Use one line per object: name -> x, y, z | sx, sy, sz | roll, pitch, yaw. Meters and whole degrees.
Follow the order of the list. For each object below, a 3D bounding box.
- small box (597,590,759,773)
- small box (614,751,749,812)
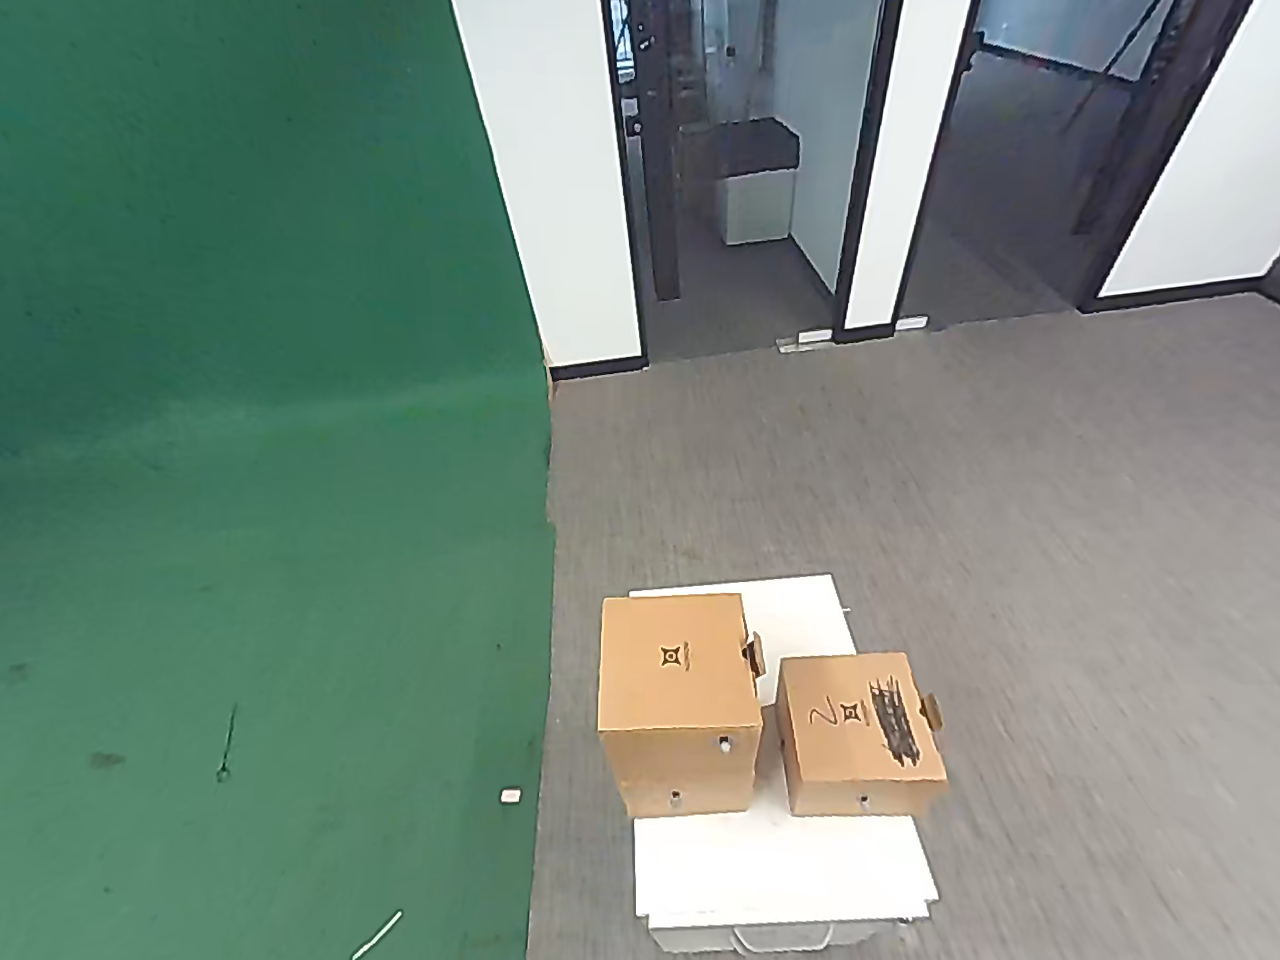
small box -> 0.045, 0.256, 0.683 | 0.179, 0.176, 0.168 | -2, 44, 2
small box -> 0.059, 0.374, 0.797 | 0.179, 0.176, 0.168 | -5, 45, 2
